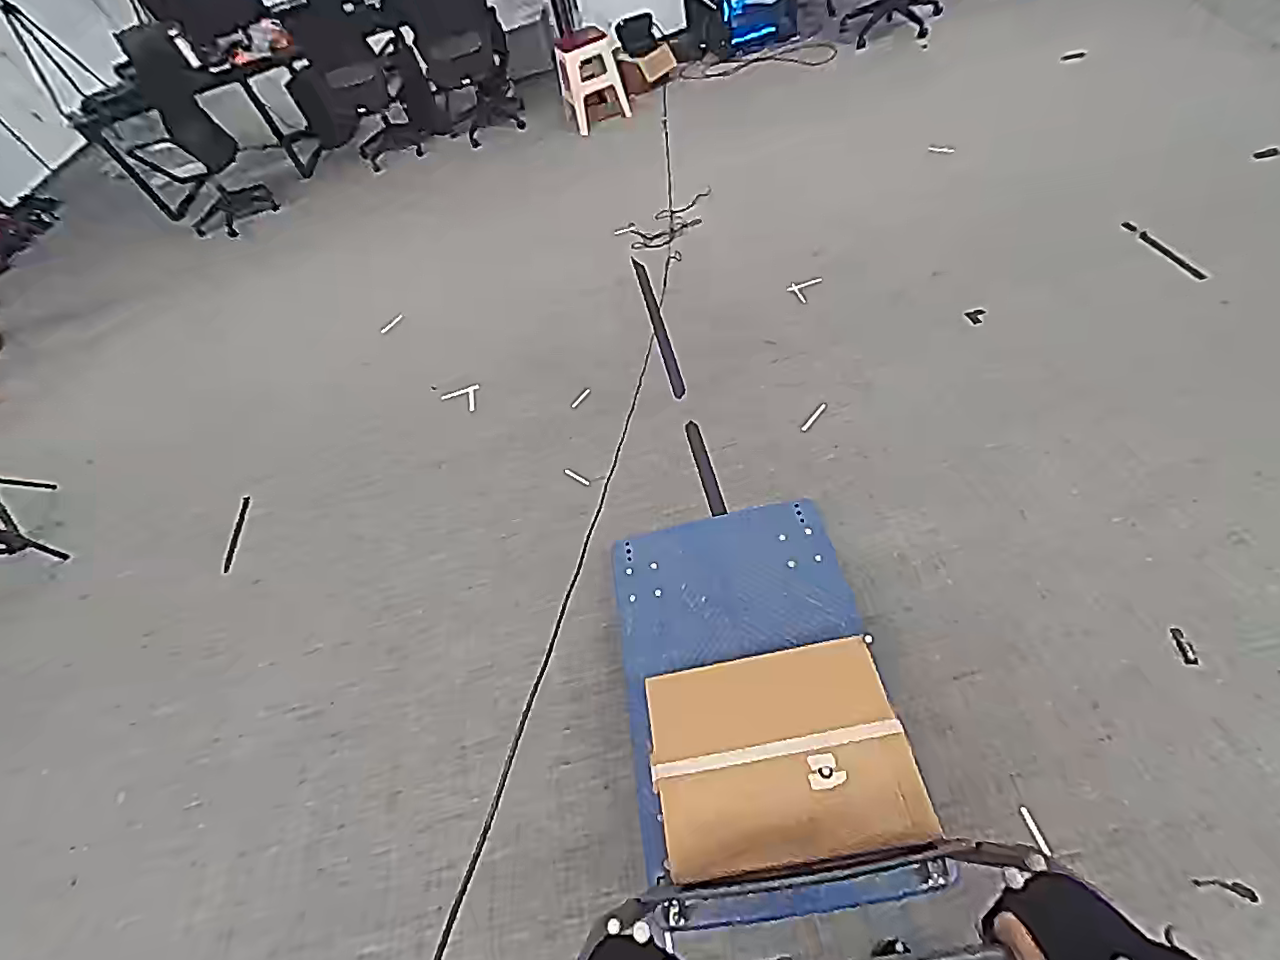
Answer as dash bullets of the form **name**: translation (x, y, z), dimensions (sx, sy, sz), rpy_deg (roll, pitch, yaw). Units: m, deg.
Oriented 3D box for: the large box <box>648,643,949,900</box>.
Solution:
- **large box**: translation (0.255, 0.537, 0.983), dimensions (0.408, 0.320, 0.320), rpy_deg (-13, 52, 5)
